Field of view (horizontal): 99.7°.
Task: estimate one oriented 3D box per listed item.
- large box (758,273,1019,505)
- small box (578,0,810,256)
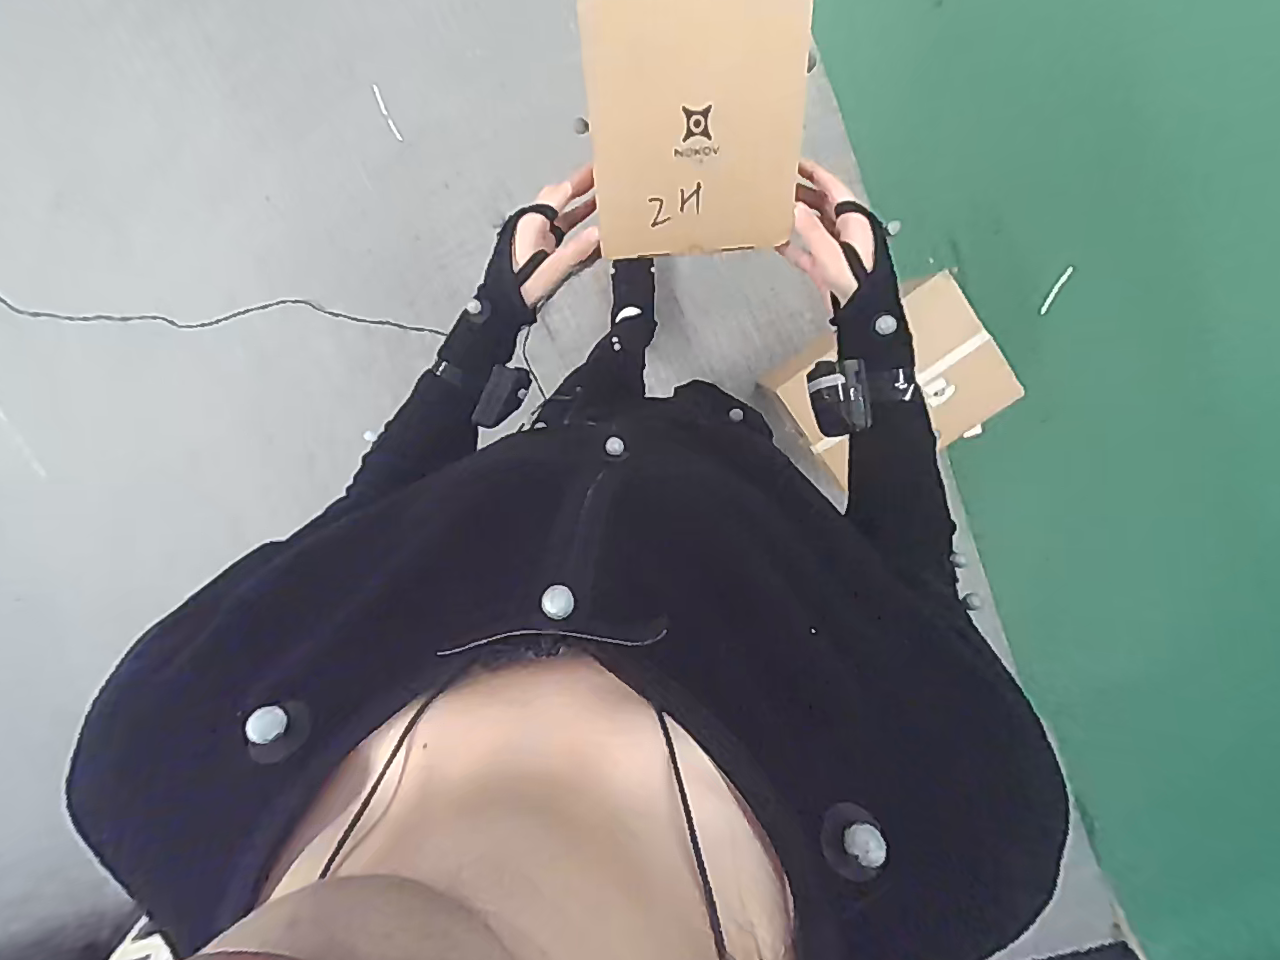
[{"bbox_3d":[0.543,-0.208,1.268,0.408,0.320,0.320,-36,99,11],"label":"large box"},{"bbox_3d":[0.038,-0.315,0.482,0.168,0.176,0.179,-4,126,1],"label":"small box"}]
